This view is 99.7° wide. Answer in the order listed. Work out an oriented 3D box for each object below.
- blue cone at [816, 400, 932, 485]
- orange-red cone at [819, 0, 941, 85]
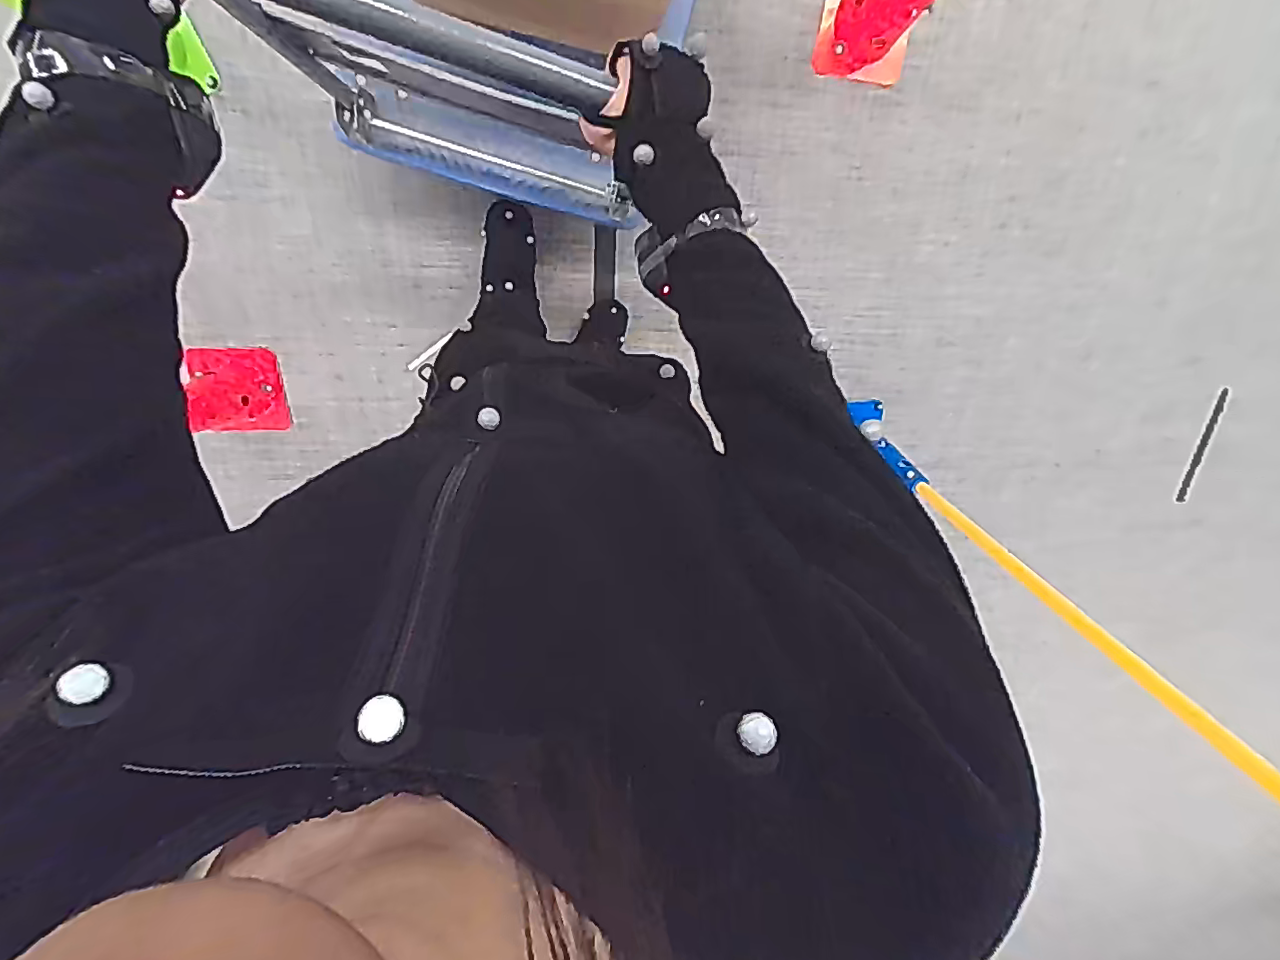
[{"bbox_3d":[0.597,-0.064,1.347,0.193,0.380,0.192,-4,112,-5],"label":"blue cone"},{"bbox_3d":[0.507,-0.891,0.975,0.199,0.360,0.198,5,112,-10],"label":"orange-red cone"}]
